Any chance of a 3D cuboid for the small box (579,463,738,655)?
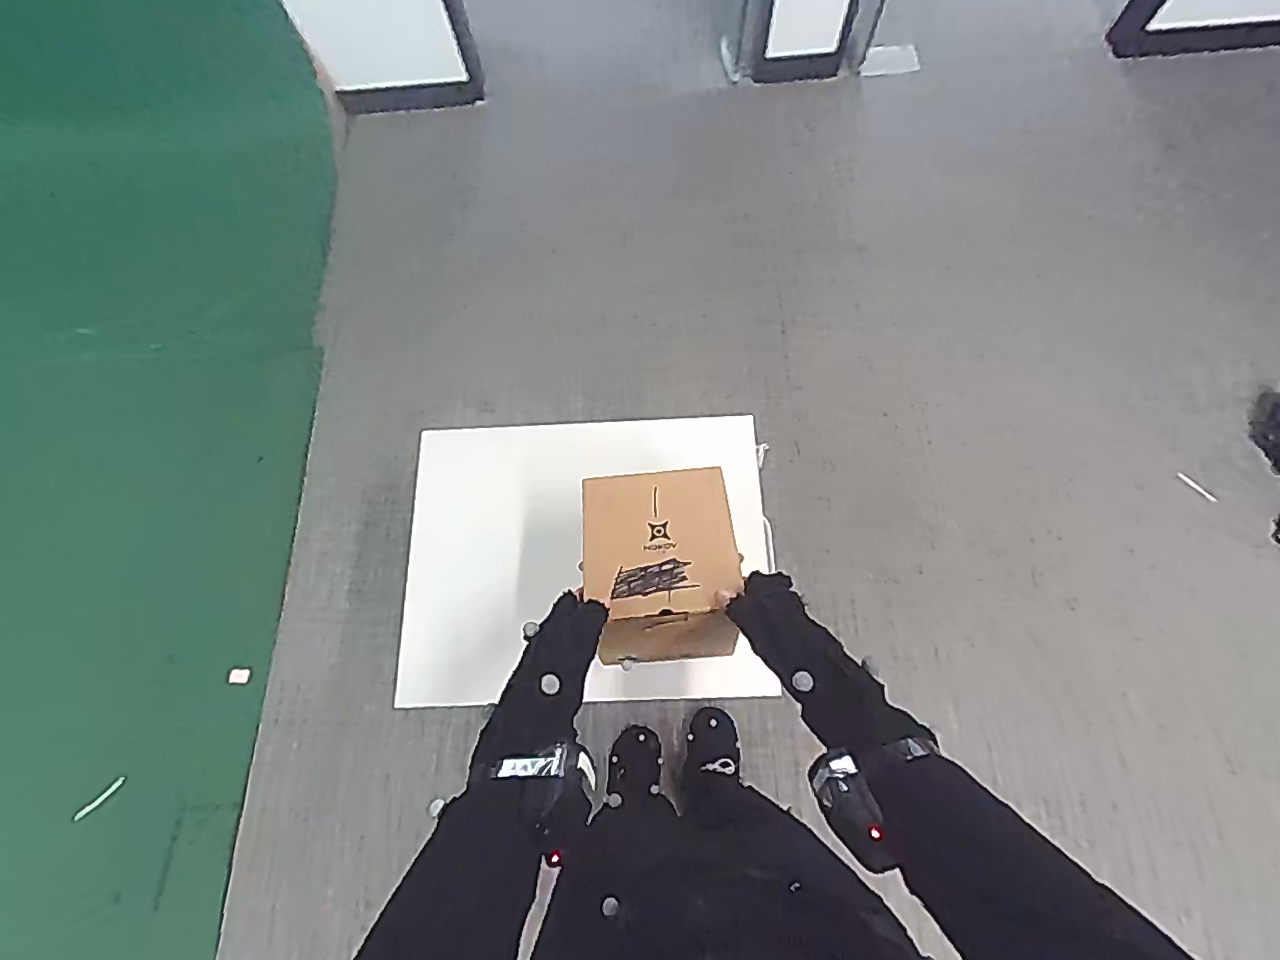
[{"bbox_3d":[0.021,0.104,0.656,0.168,0.176,0.179,-5,54,1],"label":"small box"}]
